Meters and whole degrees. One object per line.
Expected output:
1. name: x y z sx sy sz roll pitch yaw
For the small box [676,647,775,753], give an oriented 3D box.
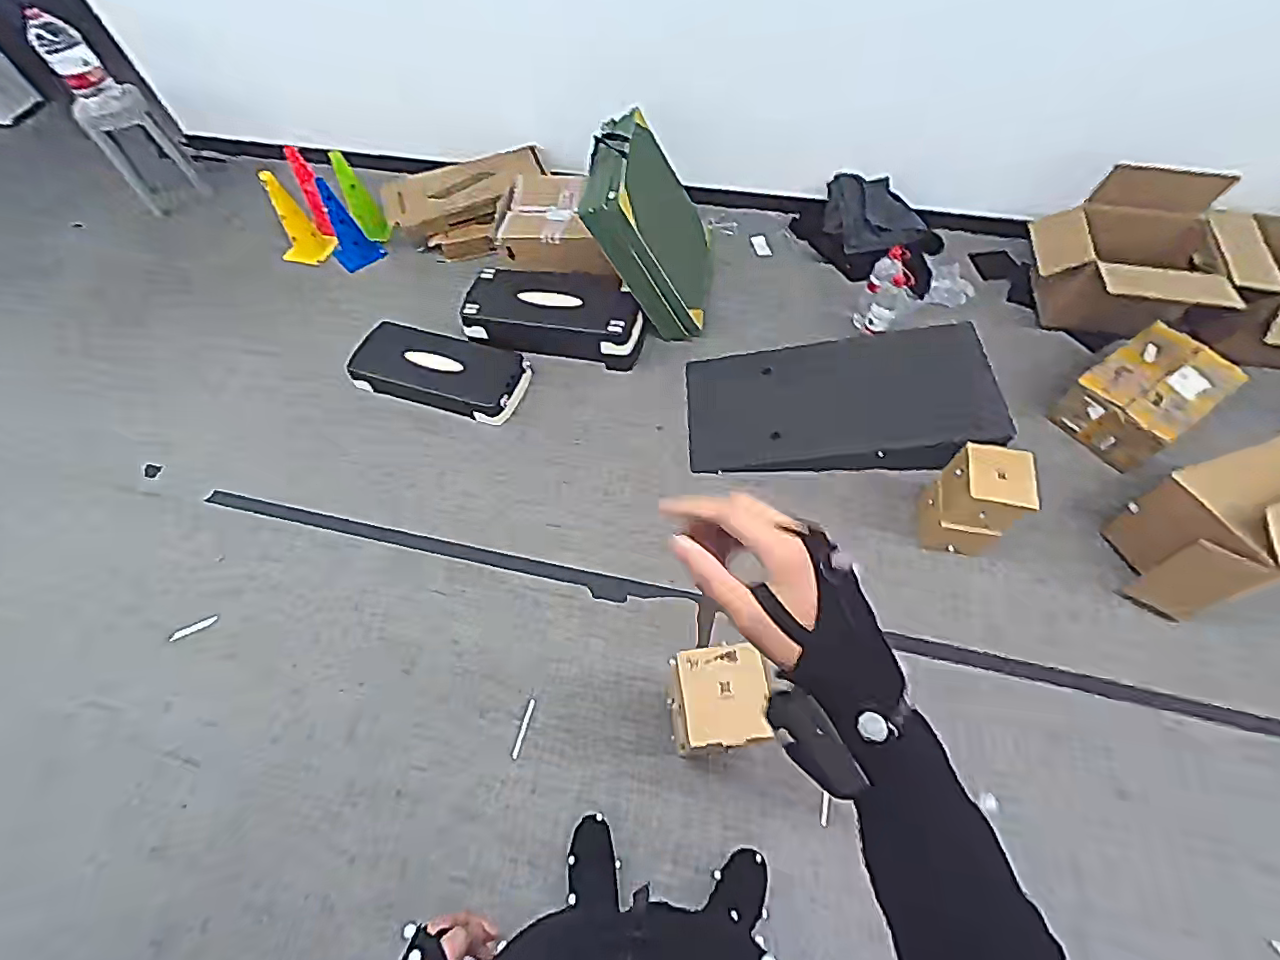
1. small box: 0.165 0.455 1.104 0.168 0.176 0.179 -6 60 -1
